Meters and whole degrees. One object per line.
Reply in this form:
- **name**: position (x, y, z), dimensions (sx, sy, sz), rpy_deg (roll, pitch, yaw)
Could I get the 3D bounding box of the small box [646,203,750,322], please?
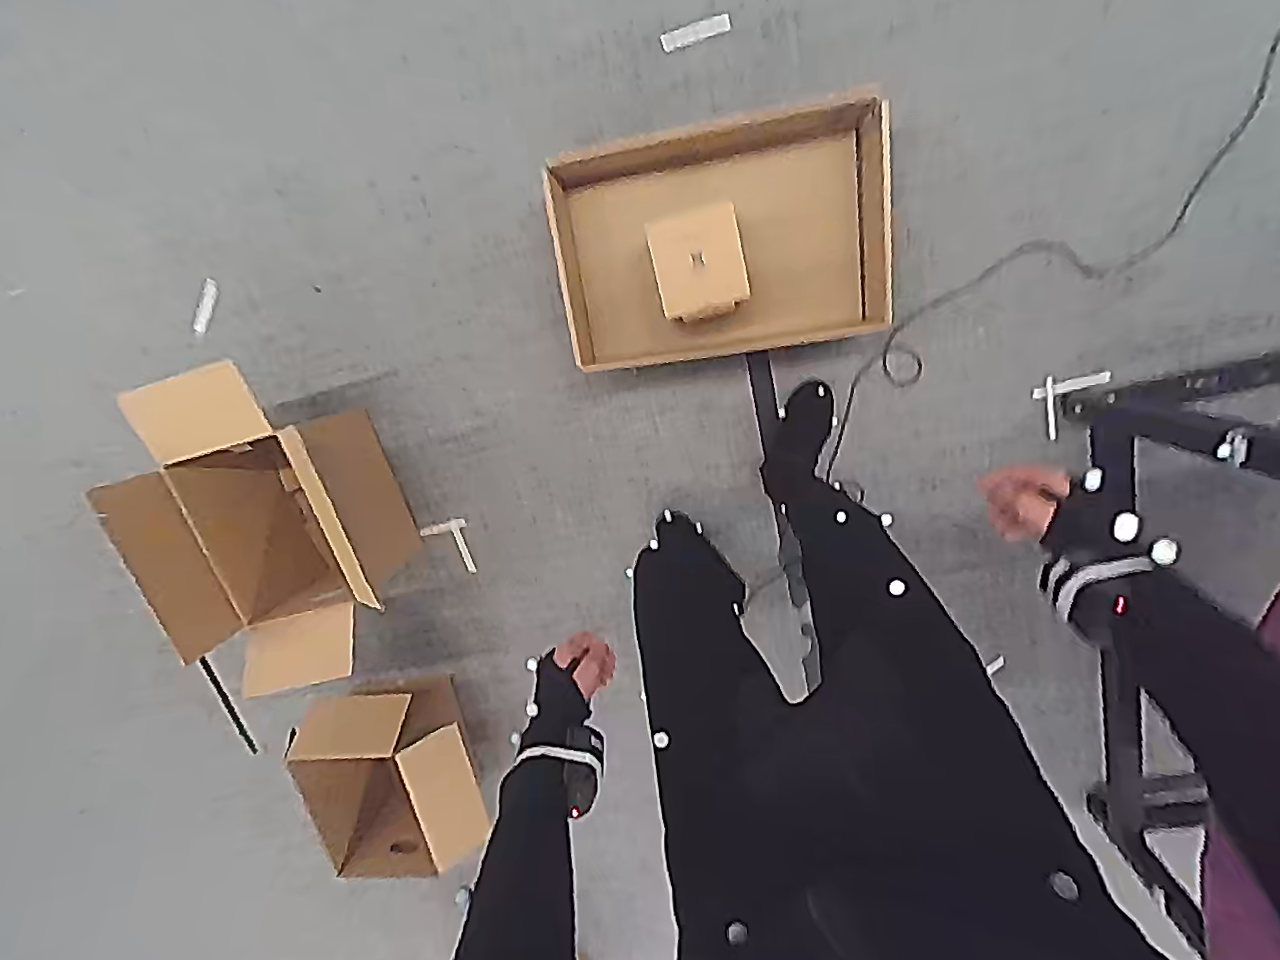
- **small box**: position (0.117, -0.422, 1.070), dimensions (0.168, 0.176, 0.179), rpy_deg (-12, 105, 9)
